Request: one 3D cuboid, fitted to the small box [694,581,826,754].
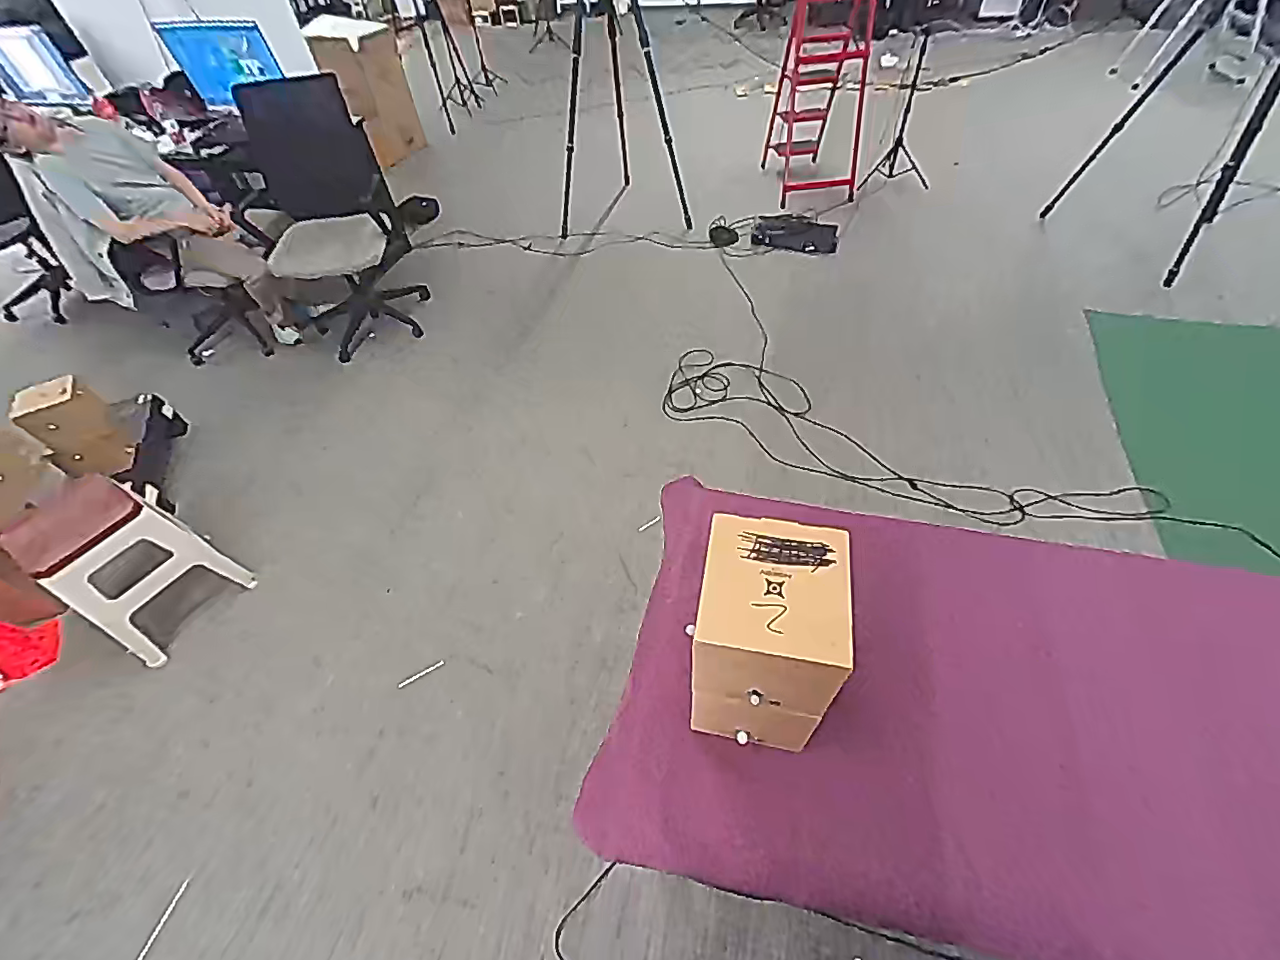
[{"bbox_3d":[0.173,0.277,0.800,0.168,0.176,0.179,7,51,11],"label":"small box"}]
